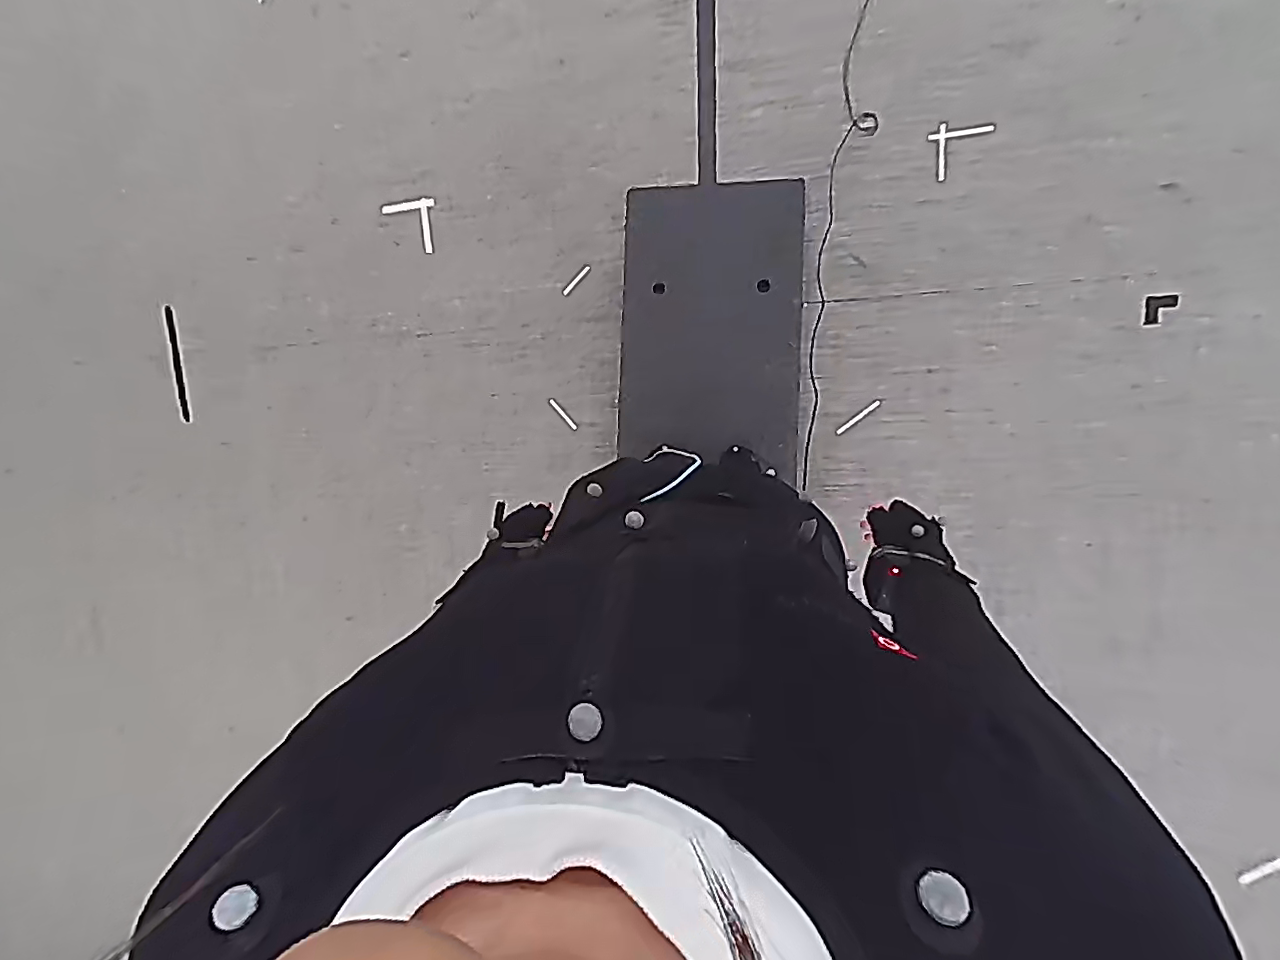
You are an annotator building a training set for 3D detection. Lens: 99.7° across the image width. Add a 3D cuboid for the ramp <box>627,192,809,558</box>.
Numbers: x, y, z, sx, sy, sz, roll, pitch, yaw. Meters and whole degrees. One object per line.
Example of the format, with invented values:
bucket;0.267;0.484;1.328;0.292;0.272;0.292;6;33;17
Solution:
ramp;0.208;-0.291;1.493;0.509;0.206;0.991;-1;96;12
